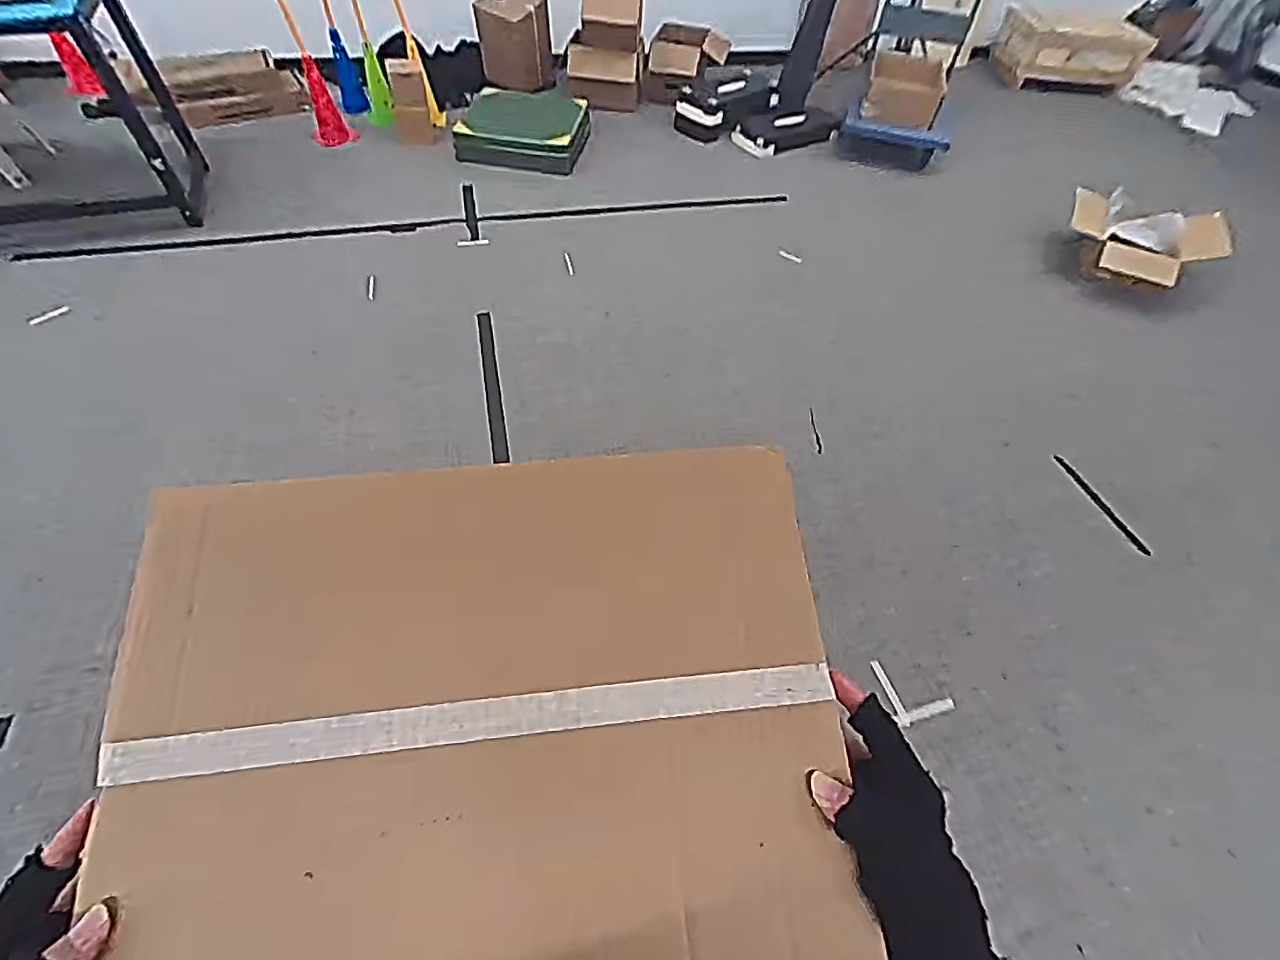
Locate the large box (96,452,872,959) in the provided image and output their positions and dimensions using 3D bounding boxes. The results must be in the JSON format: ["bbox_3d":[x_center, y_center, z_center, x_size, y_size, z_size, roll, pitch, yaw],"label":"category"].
[{"bbox_3d":[-0.095,0.192,0.460,0.408,0.320,0.320,-5,71,-4],"label":"large box"}]
